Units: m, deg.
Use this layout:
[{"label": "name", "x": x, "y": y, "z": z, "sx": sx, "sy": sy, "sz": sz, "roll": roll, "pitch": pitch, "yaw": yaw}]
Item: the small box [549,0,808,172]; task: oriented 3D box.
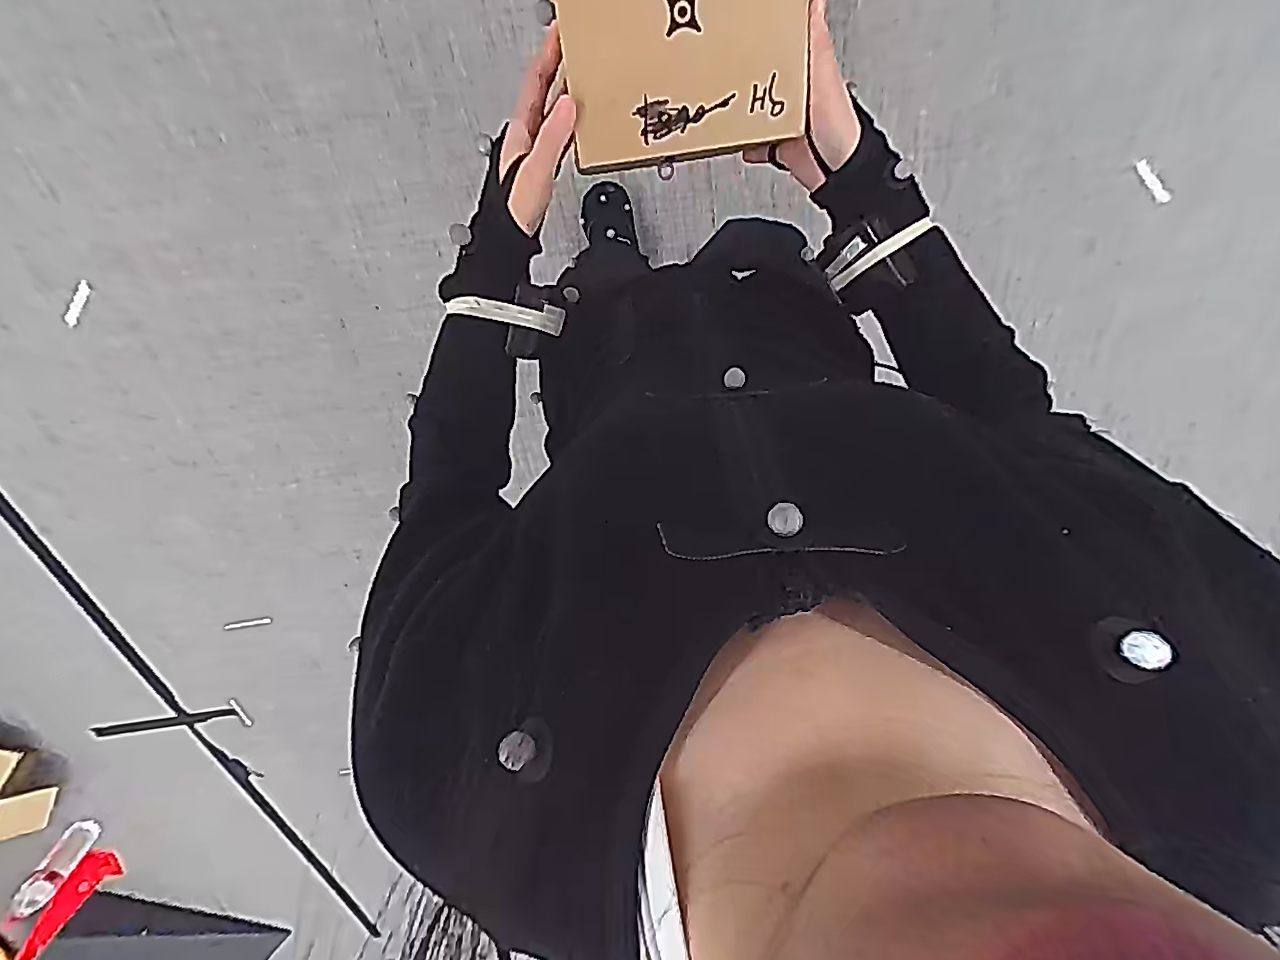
[{"label": "small box", "x": 0.018, "y": -0.346, "z": 0.410, "sx": 0.168, "sy": 0.176, "sz": 0.179, "roll": -9, "pitch": 119, "yaw": -2}]
